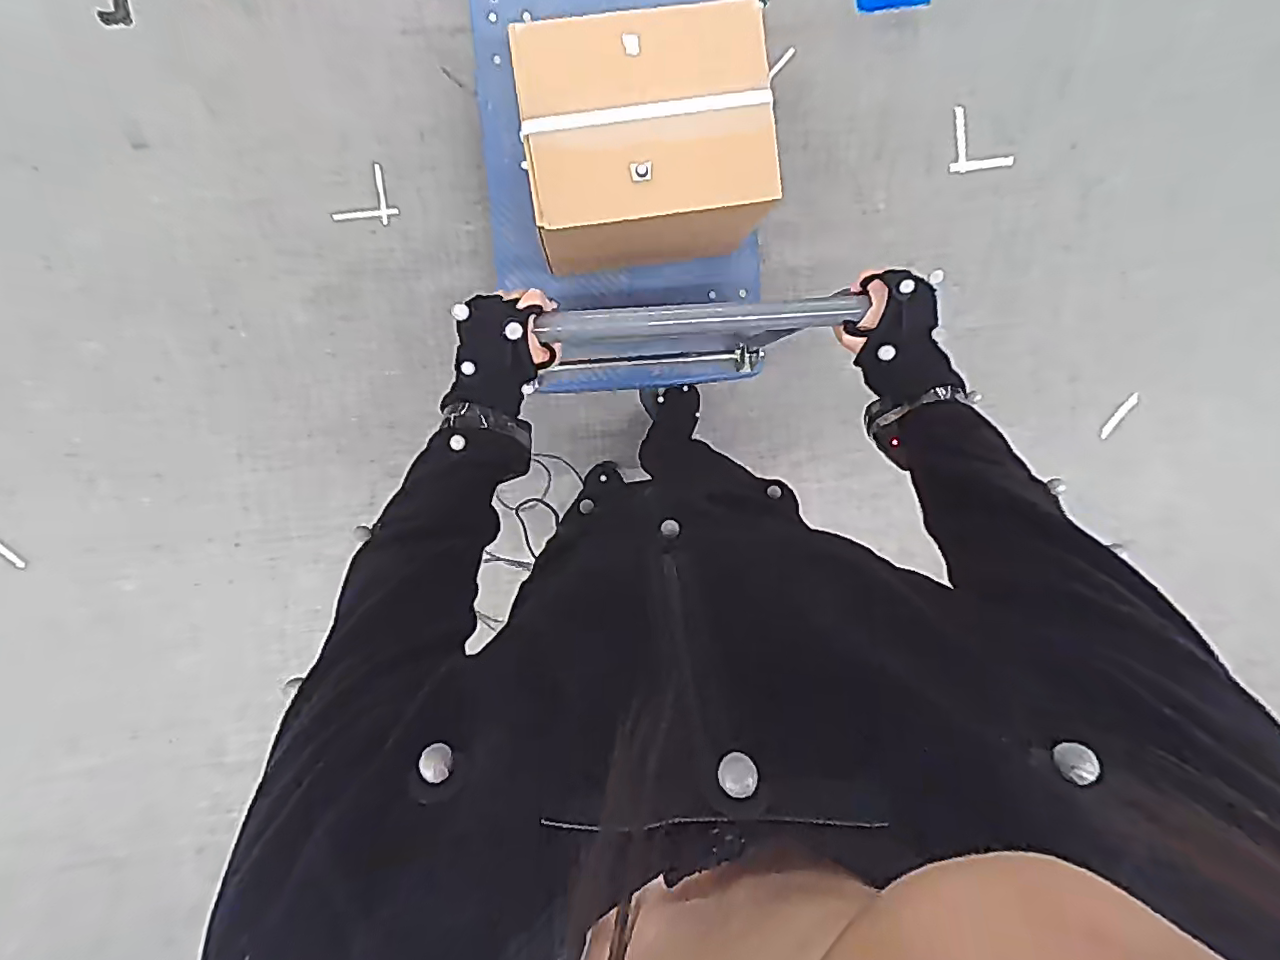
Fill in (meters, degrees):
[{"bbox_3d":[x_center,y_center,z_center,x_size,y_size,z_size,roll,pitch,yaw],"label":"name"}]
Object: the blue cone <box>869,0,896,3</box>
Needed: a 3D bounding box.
[{"bbox_3d":[0.633,-1.256,1.156,0.193,0.380,0.192,-10,96,-4],"label":"blue cone"}]
